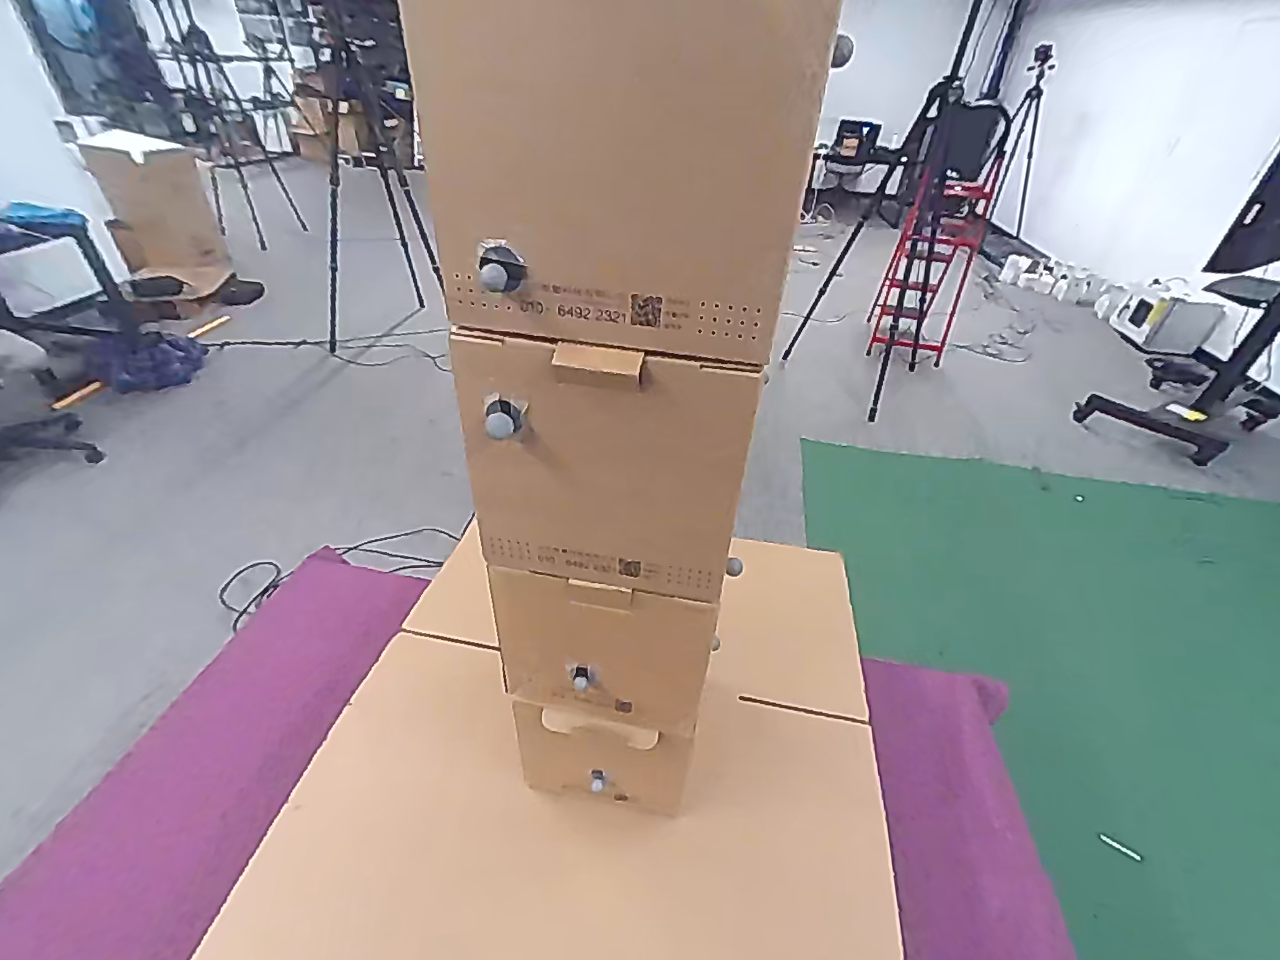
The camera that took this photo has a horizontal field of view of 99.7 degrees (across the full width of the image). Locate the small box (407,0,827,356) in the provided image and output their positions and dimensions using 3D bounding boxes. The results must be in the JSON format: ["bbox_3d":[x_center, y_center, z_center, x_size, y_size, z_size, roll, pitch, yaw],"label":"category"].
[{"bbox_3d":[0.002,-0.181,0.299,0.168,0.176,0.179,9,35,7],"label":"small box"}]

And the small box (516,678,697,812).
[{"bbox_3d":[-0.023,0.218,0.587,0.168,0.176,0.179,8,37,7],"label":"small box"}]

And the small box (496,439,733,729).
[{"bbox_3d":[-0.015,0.088,0.490,0.168,0.176,0.179,9,37,7],"label":"small box"}]
